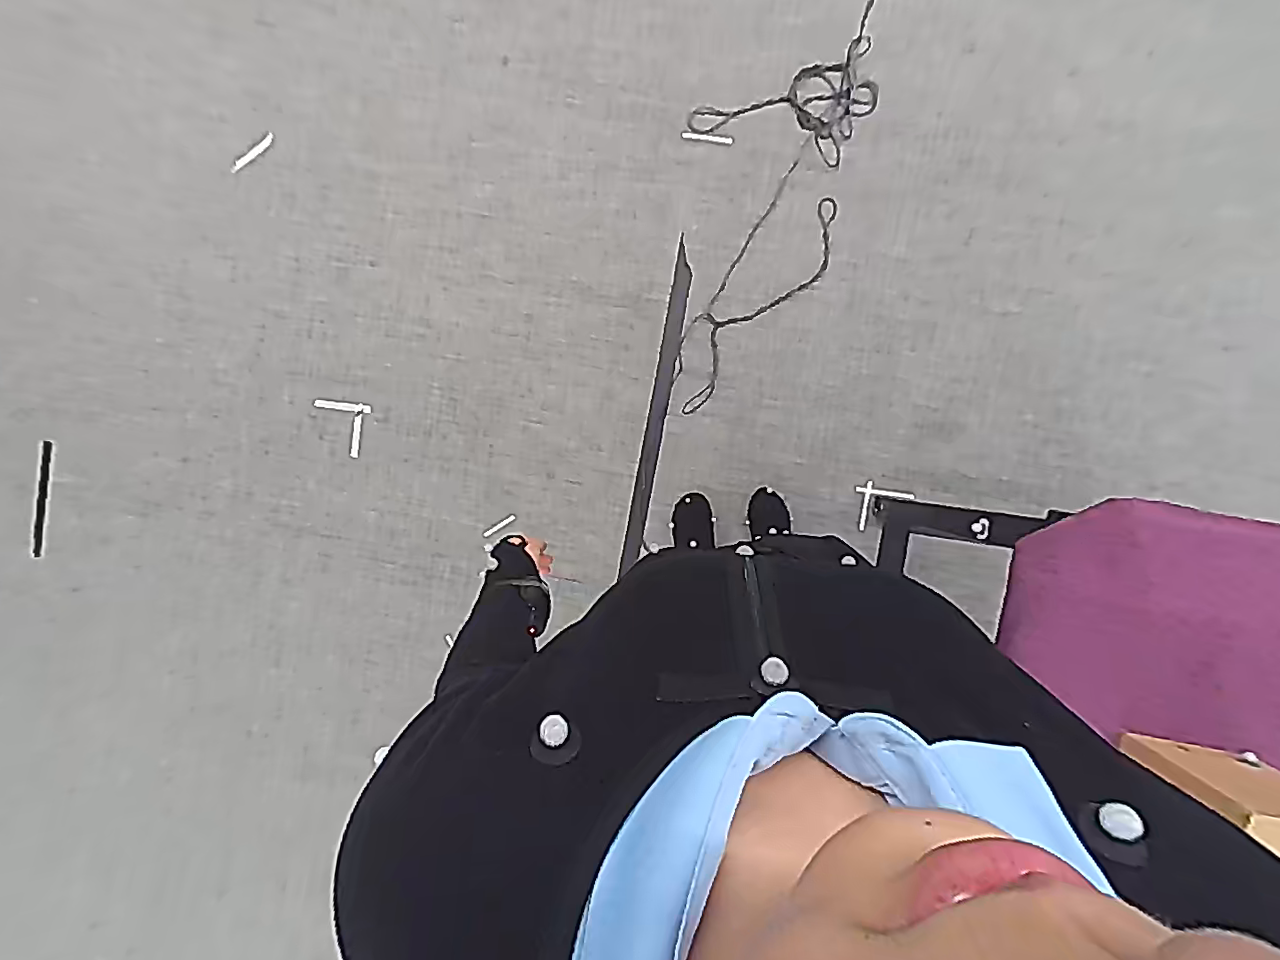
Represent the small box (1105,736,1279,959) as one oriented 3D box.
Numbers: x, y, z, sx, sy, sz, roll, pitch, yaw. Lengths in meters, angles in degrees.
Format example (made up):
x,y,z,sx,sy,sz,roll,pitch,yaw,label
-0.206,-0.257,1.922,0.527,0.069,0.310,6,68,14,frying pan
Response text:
x,y,z,sx,sy,sz,roll,pitch,yaw,label
0.714,0.440,0.649,0.168,0.176,0.179,10,93,5,small box
